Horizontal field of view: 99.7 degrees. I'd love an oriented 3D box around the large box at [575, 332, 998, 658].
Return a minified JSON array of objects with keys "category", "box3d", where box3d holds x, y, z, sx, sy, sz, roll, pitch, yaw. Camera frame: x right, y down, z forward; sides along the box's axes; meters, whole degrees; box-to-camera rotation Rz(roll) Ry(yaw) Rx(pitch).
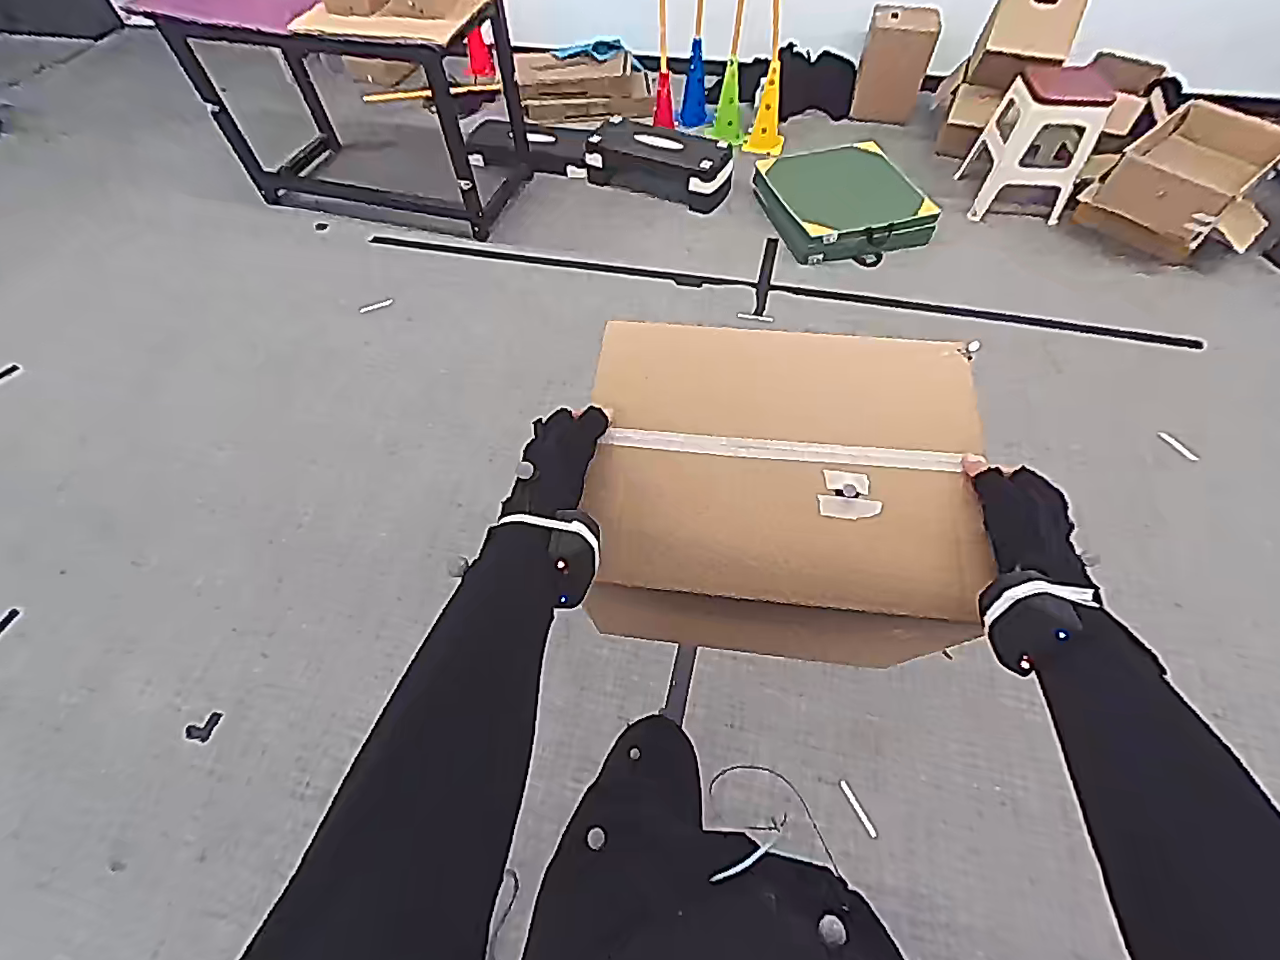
[{"category":"large box","box3d":[0.154,0.036,0.706,0.408,0.320,0.320,5,66,6]}]
